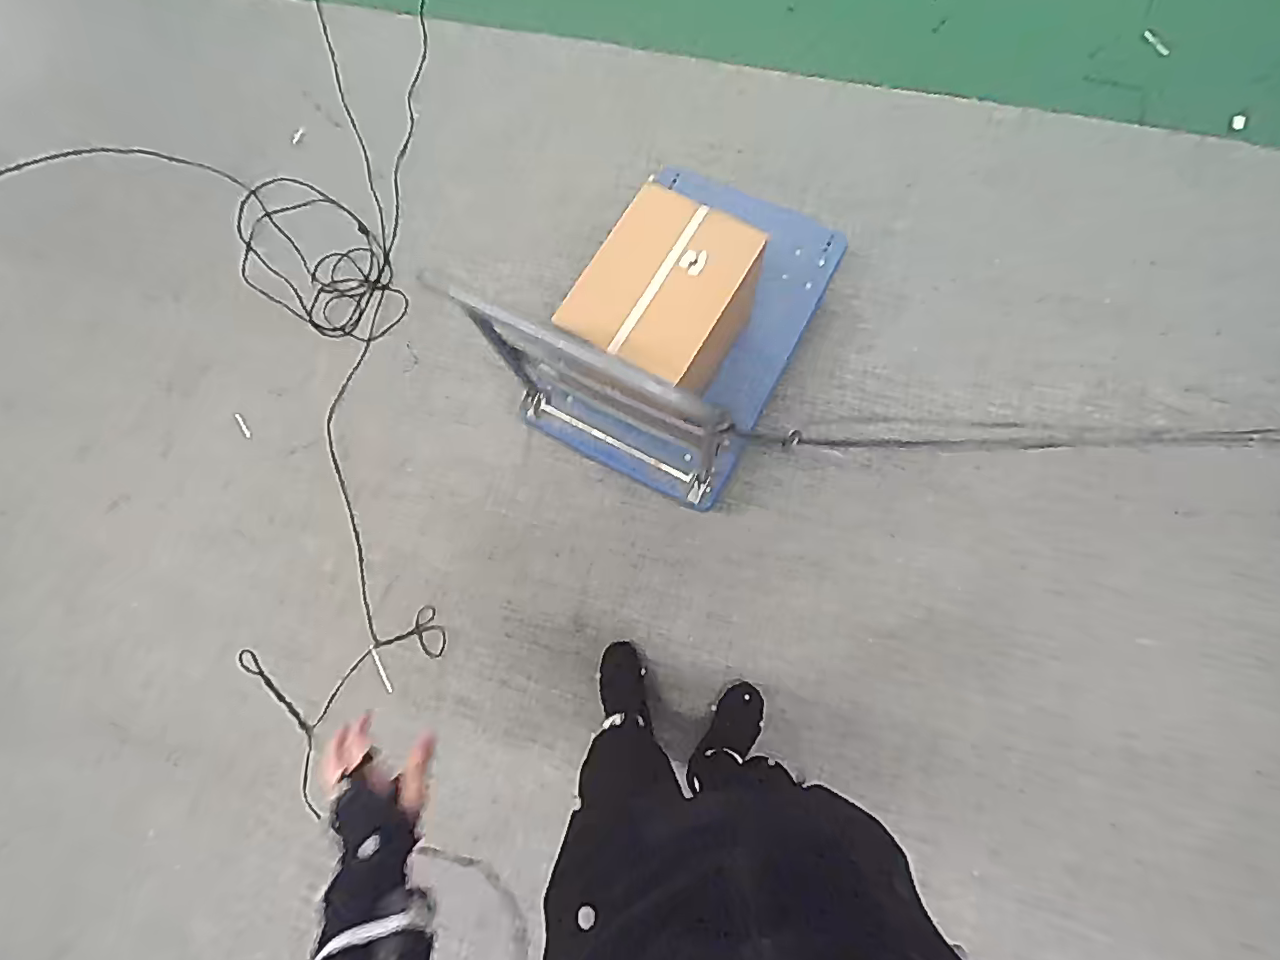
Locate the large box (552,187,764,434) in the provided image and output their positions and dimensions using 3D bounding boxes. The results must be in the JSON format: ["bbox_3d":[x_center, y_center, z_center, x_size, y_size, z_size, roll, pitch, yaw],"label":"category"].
[{"bbox_3d":[0.050,-0.384,1.292,0.320,0.320,0.408,30,80,10],"label":"large box"}]
